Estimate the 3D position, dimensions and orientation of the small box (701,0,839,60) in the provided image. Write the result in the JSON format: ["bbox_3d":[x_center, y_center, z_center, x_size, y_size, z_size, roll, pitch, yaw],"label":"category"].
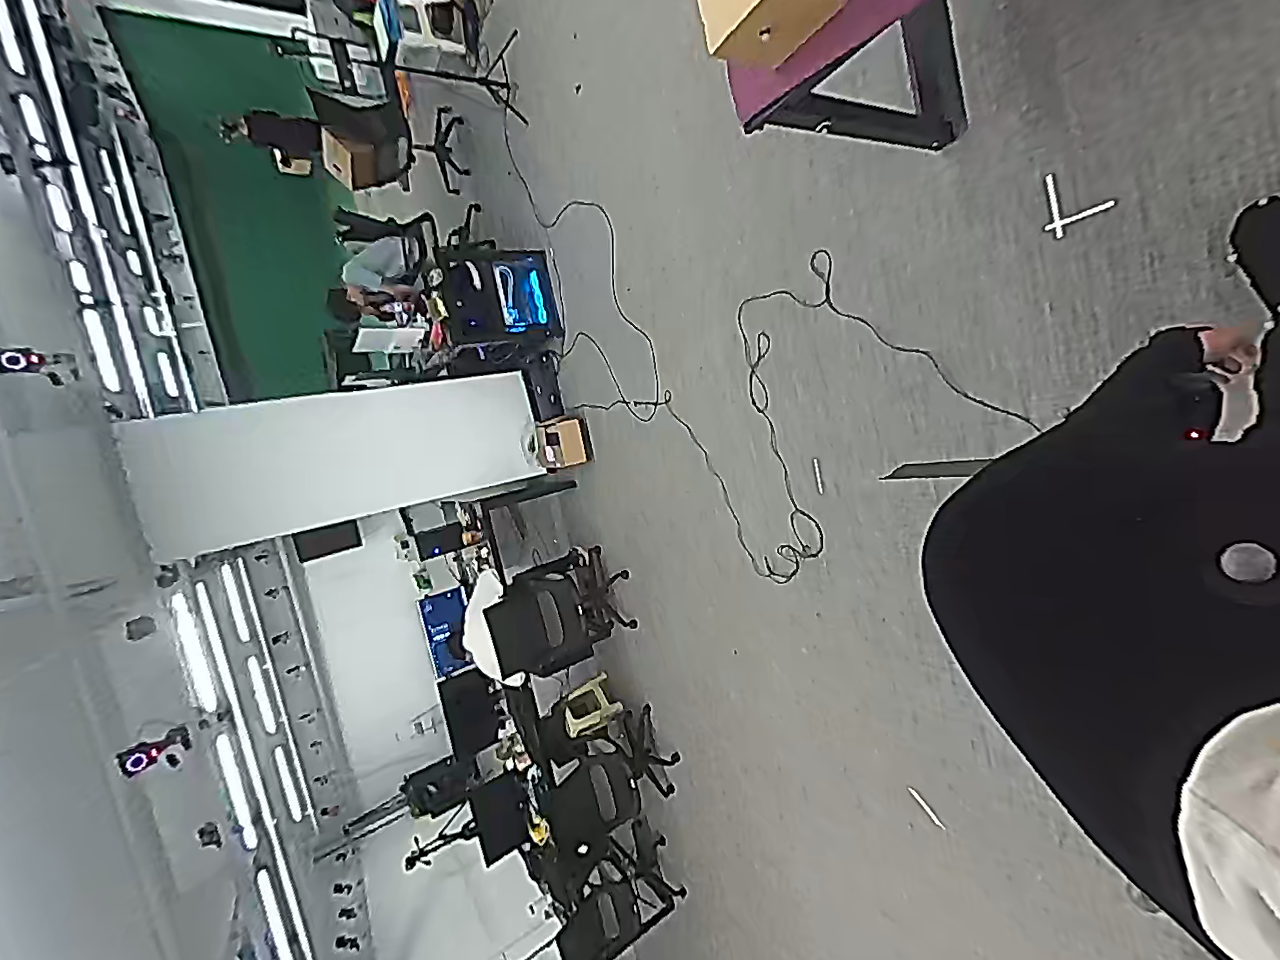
[{"bbox_3d":[0.219,-0.864,0.923,0.179,0.176,0.168,-3,101,59],"label":"small box"}]
